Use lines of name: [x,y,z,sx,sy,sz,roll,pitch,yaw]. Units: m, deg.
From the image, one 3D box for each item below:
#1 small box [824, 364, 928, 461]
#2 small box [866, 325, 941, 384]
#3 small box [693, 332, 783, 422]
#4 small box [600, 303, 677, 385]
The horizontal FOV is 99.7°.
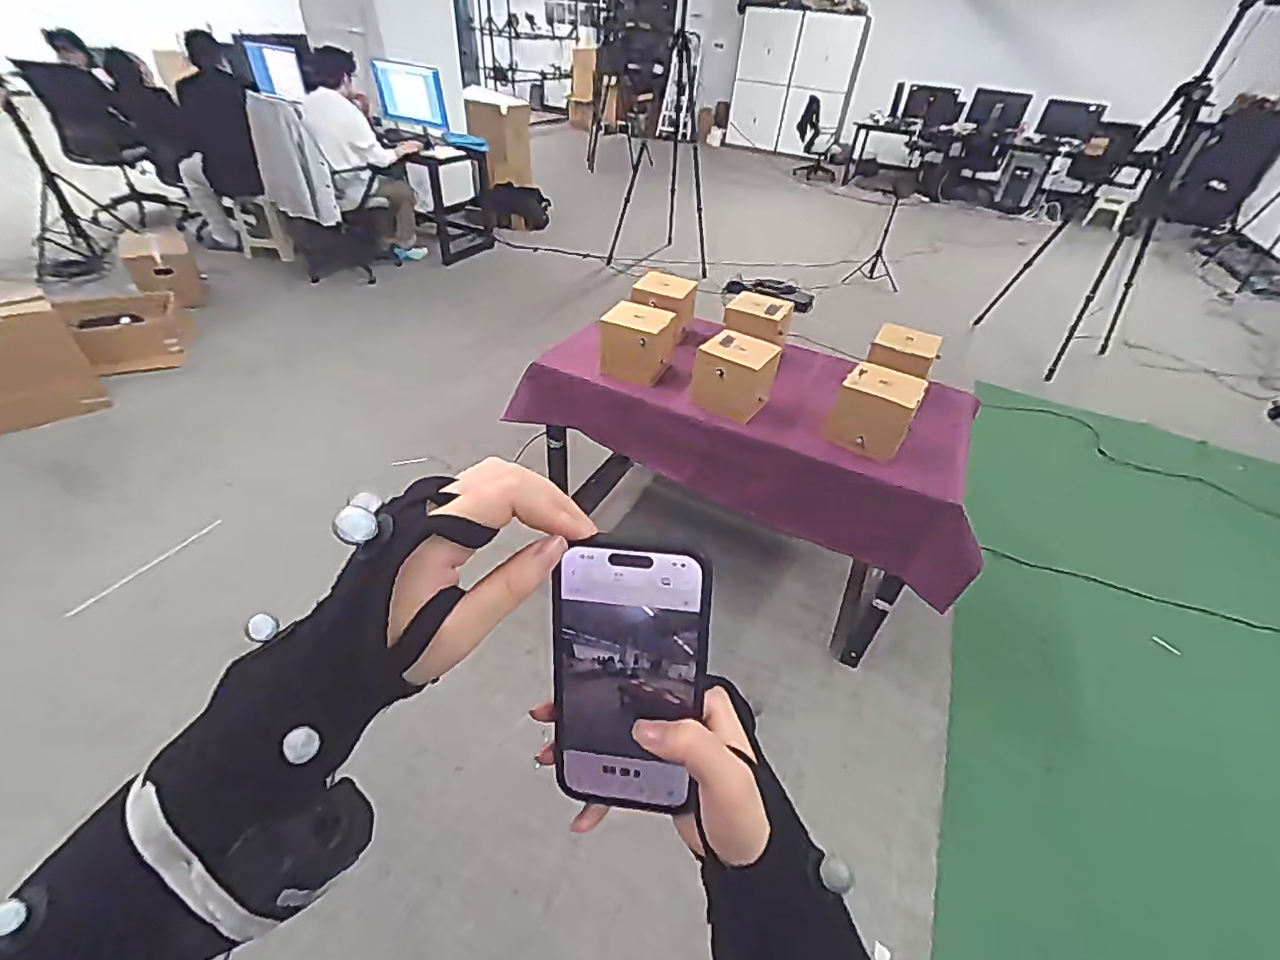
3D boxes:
small box: [0.604,-0.170,1.392,0.179,0.176,0.168,27,44,23]
small box: [0.764,-0.334,1.606,0.168,0.176,0.179,24,44,21]
small box: [0.262,-0.281,1.485,0.179,0.176,0.168,27,44,22]
small box: [-0.007,-0.399,1.594,0.179,0.176,0.168,19,41,13]
